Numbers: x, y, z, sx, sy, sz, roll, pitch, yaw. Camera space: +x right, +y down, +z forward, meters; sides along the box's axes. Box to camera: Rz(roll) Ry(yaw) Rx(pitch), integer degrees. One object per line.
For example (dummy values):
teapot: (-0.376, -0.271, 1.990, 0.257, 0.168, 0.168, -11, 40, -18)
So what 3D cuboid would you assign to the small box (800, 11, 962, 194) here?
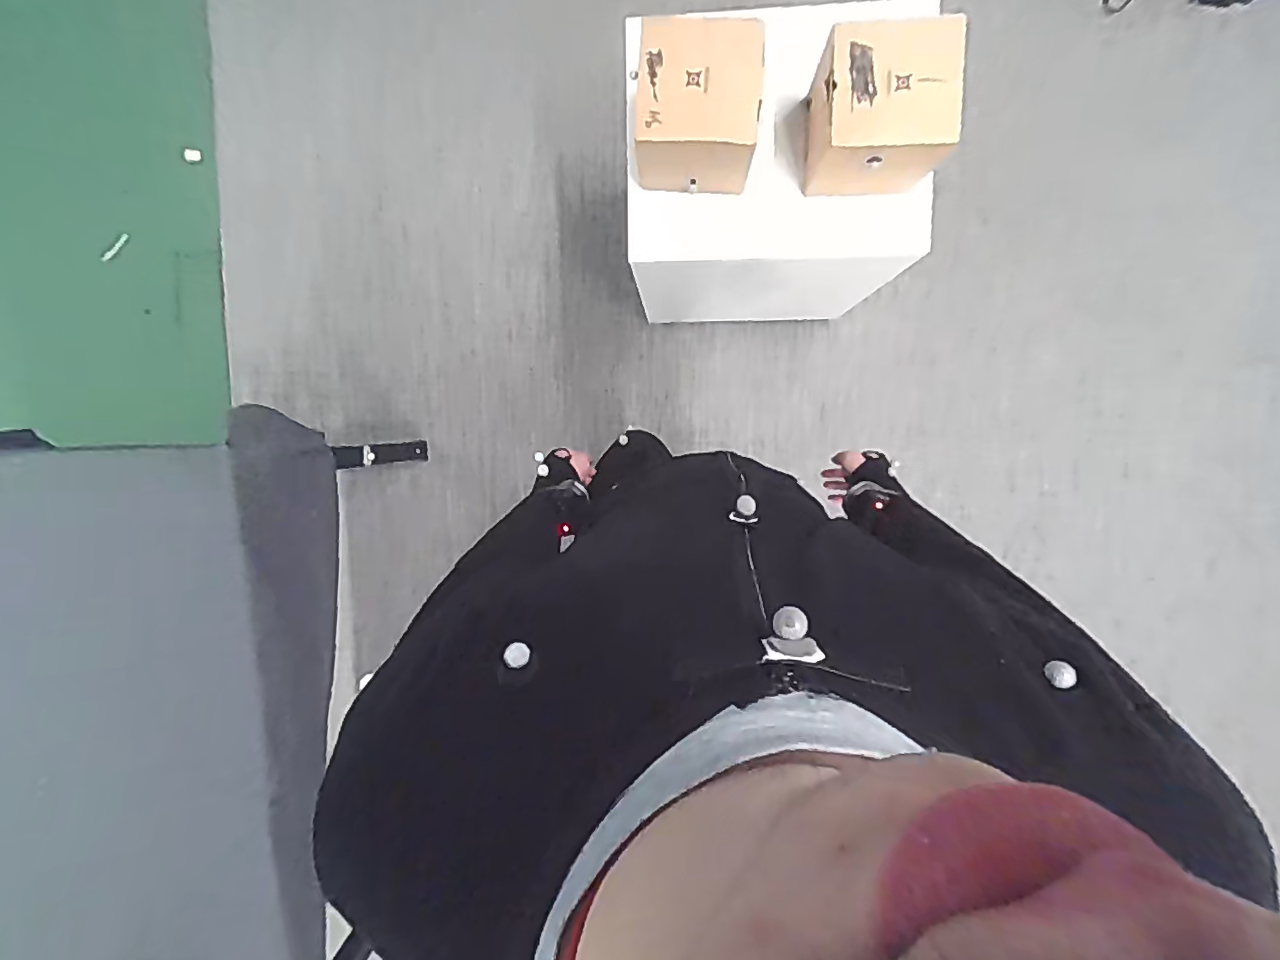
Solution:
small box: (0.344, -0.545, 0.805, 0.179, 0.176, 0.168, -1, 95, 2)

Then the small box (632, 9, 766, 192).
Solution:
small box: (0.079, -0.554, 0.814, 0.179, 0.176, 0.168, 3, 95, 0)
